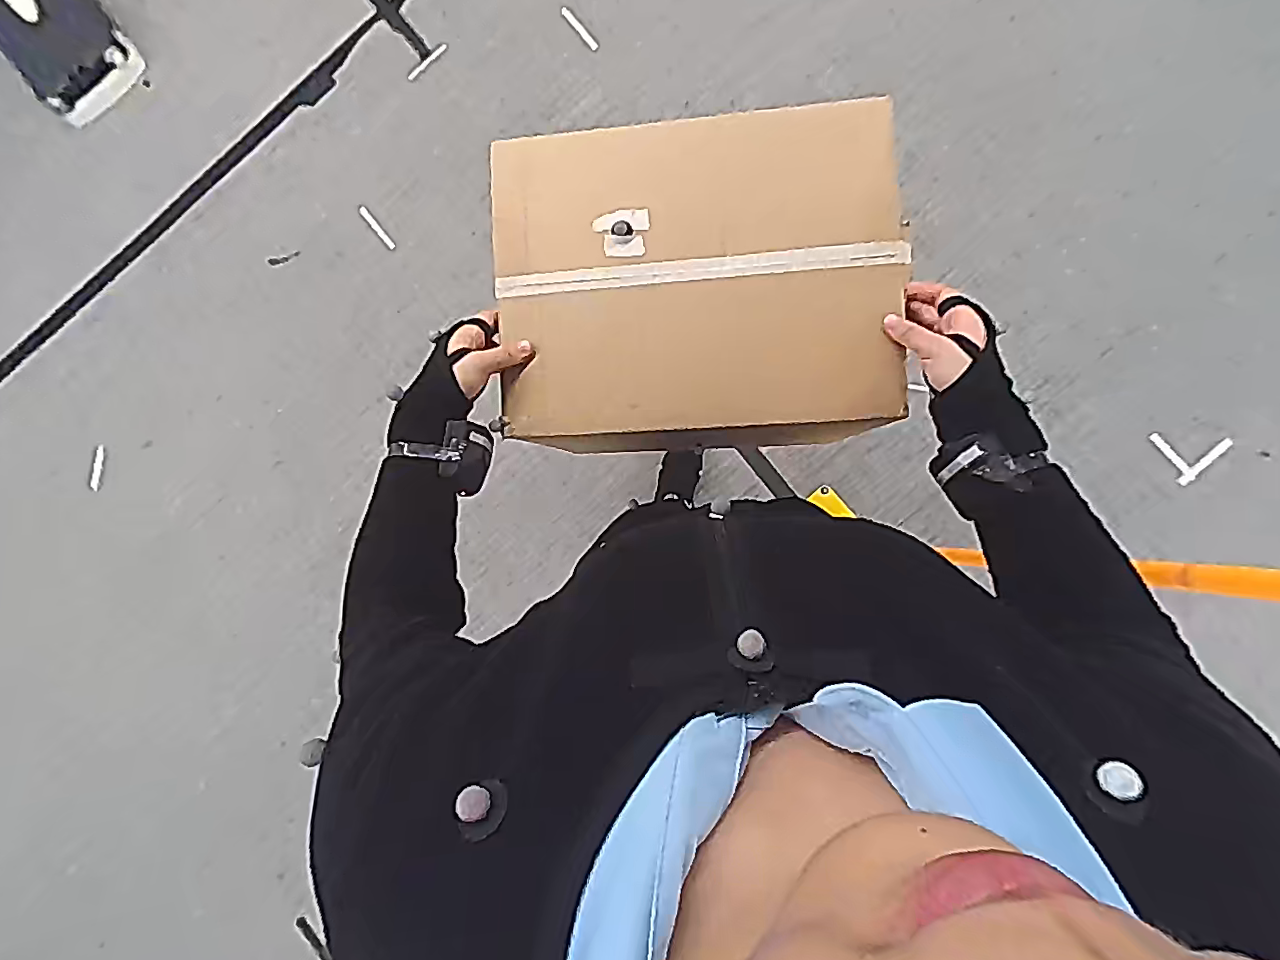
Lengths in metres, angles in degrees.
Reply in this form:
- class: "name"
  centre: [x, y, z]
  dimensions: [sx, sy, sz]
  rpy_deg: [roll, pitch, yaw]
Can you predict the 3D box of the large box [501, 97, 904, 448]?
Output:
- class: "large box"
  centre: [0.075, -0.213, 0.700]
  dimensions: [0.408, 0.320, 0.320]
  rpy_deg: [-3, 88, 8]
